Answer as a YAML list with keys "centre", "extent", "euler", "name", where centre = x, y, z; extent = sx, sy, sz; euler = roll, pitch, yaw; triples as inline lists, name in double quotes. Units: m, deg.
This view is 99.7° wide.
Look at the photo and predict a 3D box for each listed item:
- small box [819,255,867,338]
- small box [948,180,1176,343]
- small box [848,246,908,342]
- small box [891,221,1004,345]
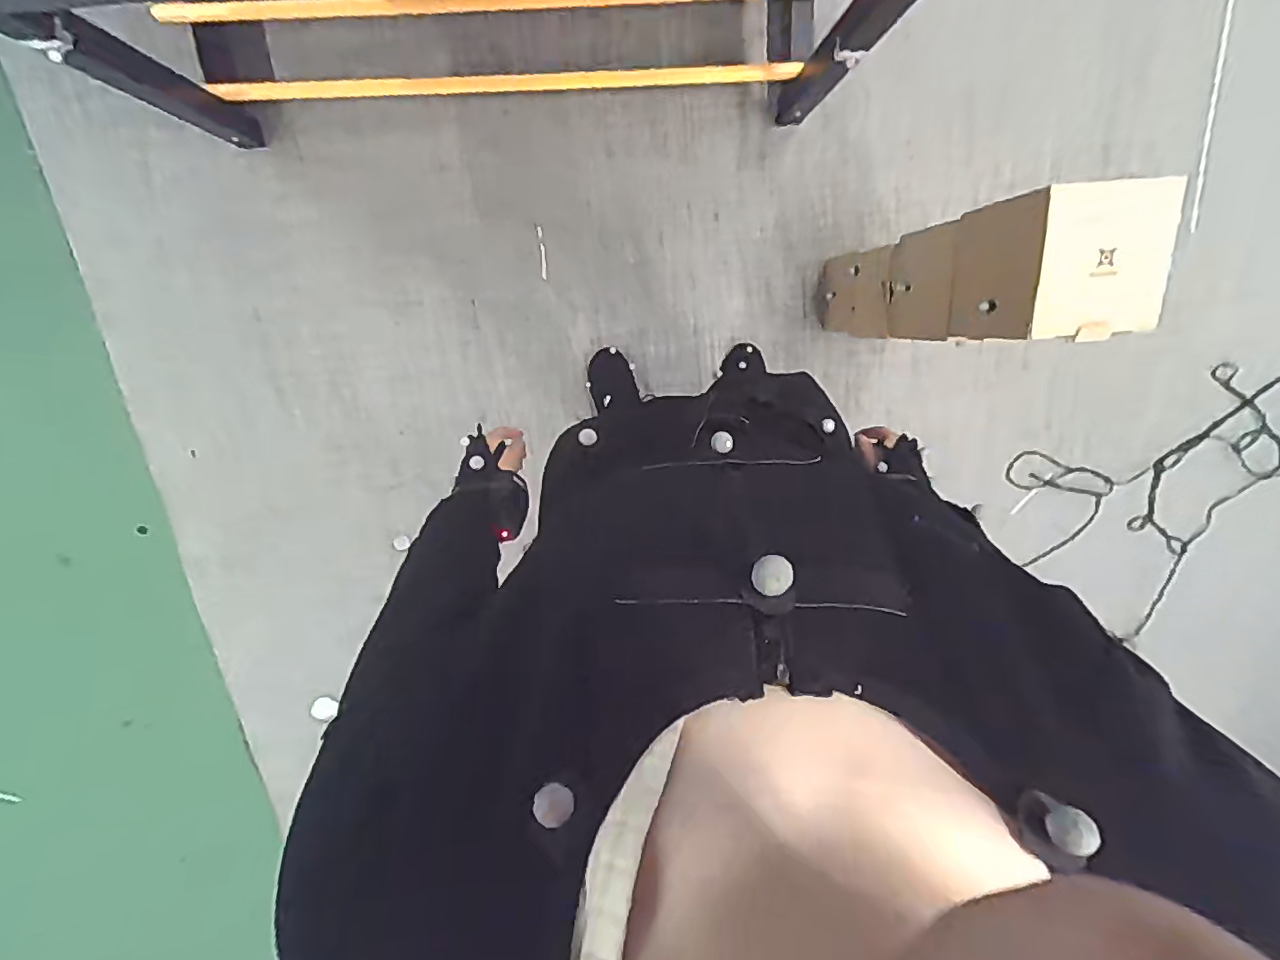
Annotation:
- centre: [0.519, -0.404, 1.198]
  extent: [0.179, 0.176, 0.168]
  euler: [-4, 105, -4]
  name: "small box"
- centre: [0.543, -0.281, 0.724]
  extent: [0.168, 0.176, 0.179]
  euler: [-6, 105, -3]
  name: "small box"
- centre: [0.518, -0.356, 1.041]
  extent: [0.179, 0.176, 0.168]
  euler: [-6, 106, -3]
  name: "small box"
- centre: [0.531, -0.319, 0.881]
  extent: [0.168, 0.176, 0.179]
  euler: [-5, 107, -4]
  name: "small box"
